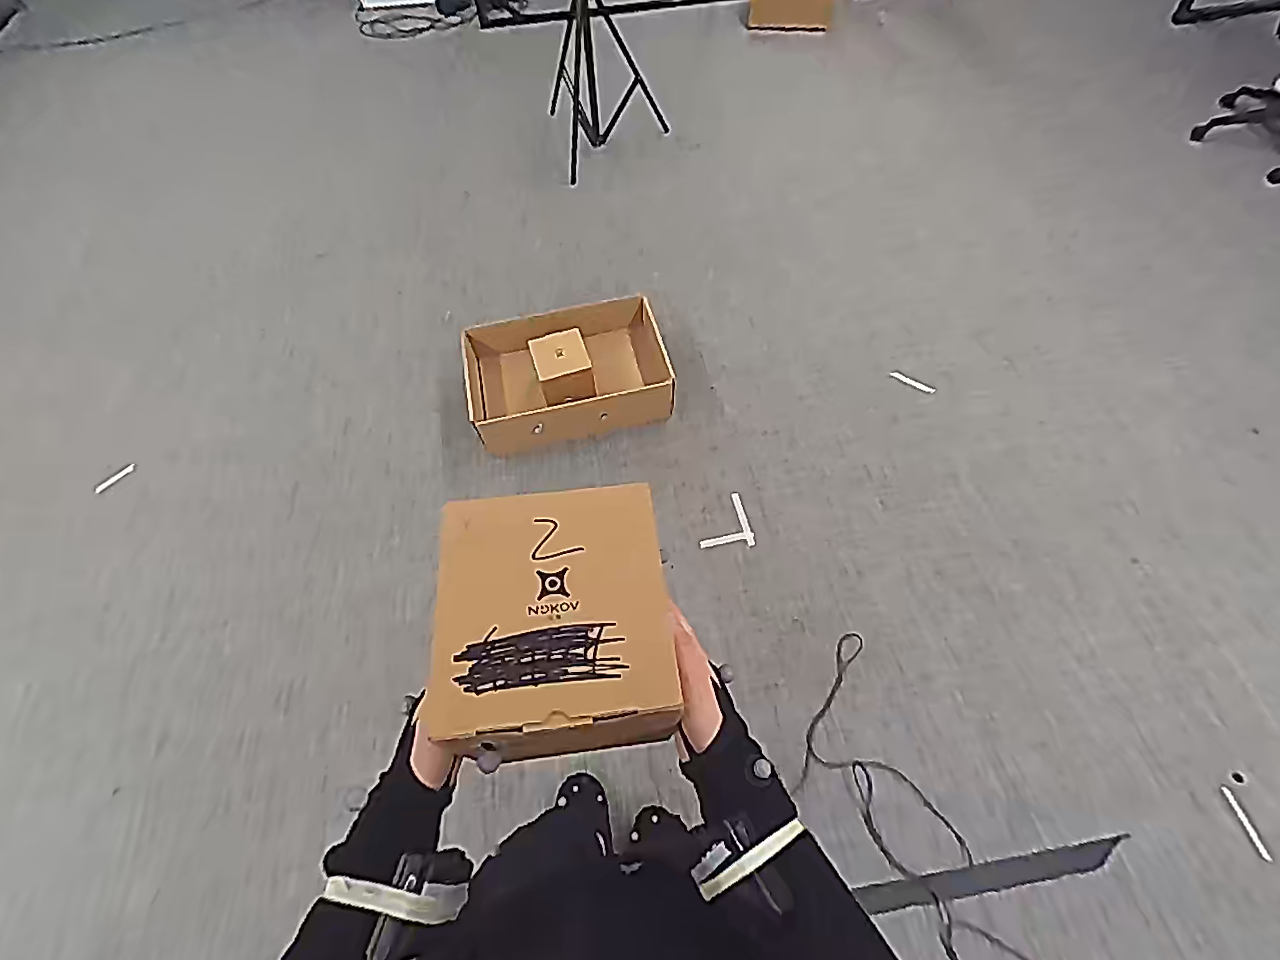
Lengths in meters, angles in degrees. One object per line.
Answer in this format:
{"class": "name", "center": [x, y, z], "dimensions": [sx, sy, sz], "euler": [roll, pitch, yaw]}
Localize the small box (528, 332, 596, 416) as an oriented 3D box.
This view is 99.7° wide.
{"class": "small box", "center": [-0.246, -0.336, 1.726], "dimensions": [0.168, 0.176, 0.179], "euler": [-18, 62, -7]}
